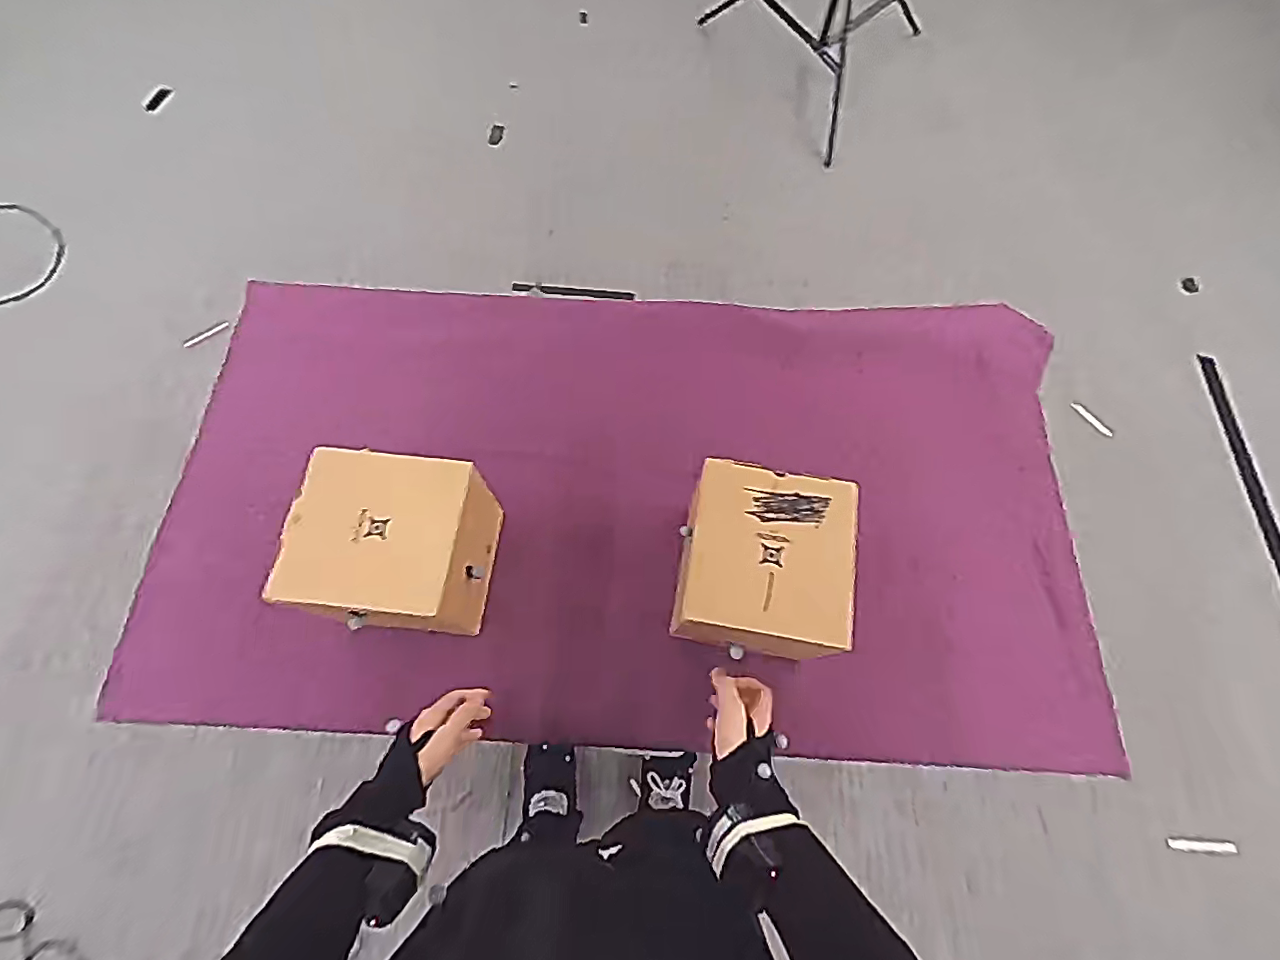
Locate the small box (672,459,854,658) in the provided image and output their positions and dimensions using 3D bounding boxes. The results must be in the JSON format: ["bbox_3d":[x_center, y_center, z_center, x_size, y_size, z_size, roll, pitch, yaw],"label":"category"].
[{"bbox_3d":[0.133,0.099,0.628,0.168,0.176,0.179,10,69,3],"label":"small box"}]

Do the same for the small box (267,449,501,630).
[{"bbox_3d":[-0.274,0.079,0.631,0.179,0.176,0.168,5,69,1],"label":"small box"}]
